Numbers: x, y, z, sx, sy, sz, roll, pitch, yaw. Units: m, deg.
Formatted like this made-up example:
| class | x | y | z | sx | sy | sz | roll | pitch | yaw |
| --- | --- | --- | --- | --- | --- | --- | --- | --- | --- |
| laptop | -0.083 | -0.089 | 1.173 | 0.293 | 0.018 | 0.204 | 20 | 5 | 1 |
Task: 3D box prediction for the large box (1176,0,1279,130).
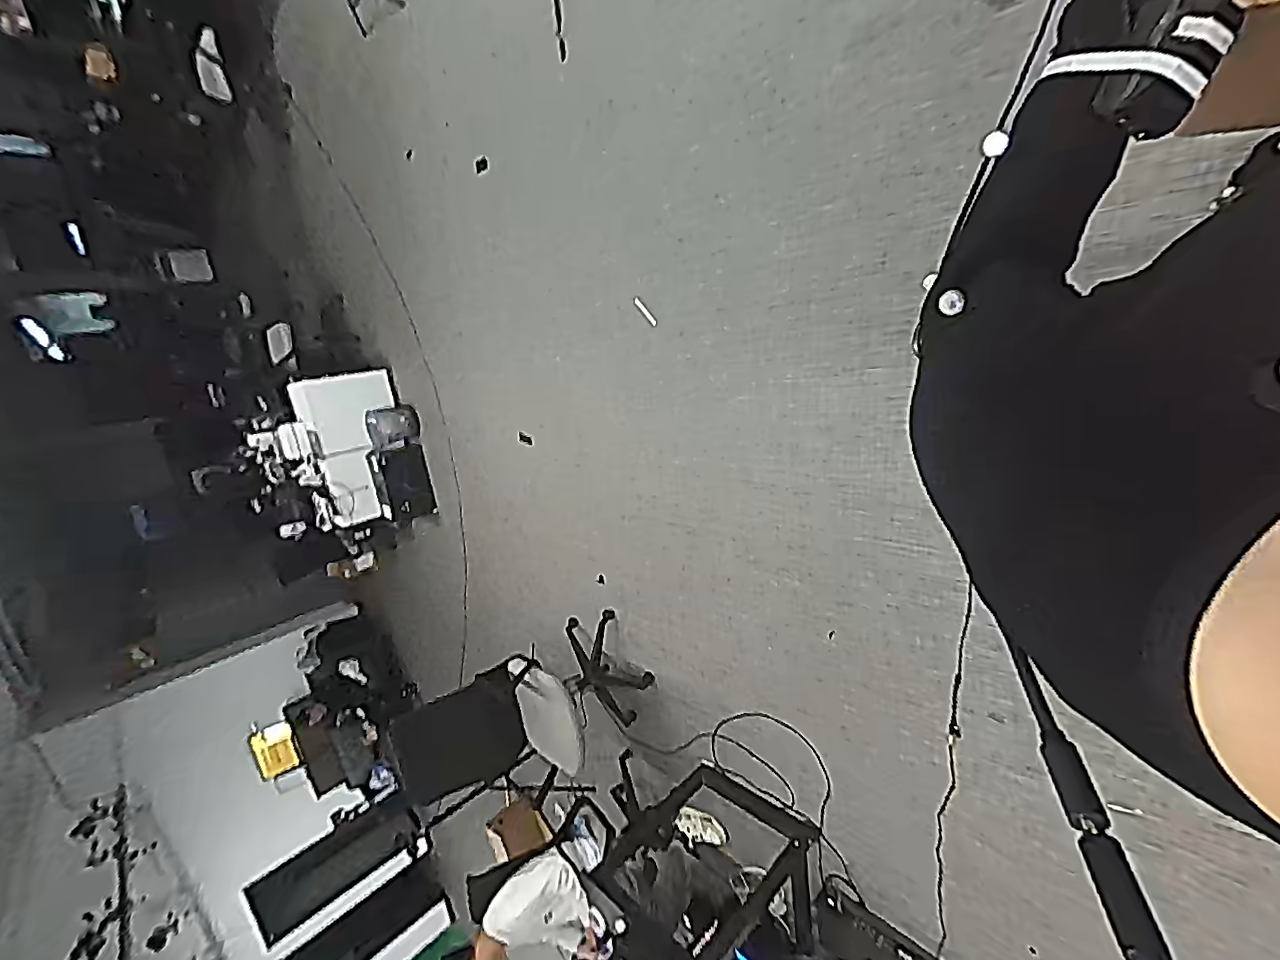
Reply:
| class | x | y | z | sx | sy | sz | roll | pitch | yaw |
| --- | --- | --- | --- | --- | --- | --- | --- | --- | --- |
| large box | 0.595 | -0.428 | 0.277 | 0.408 | 0.320 | 0.320 | 18 | 114 | 40 |
